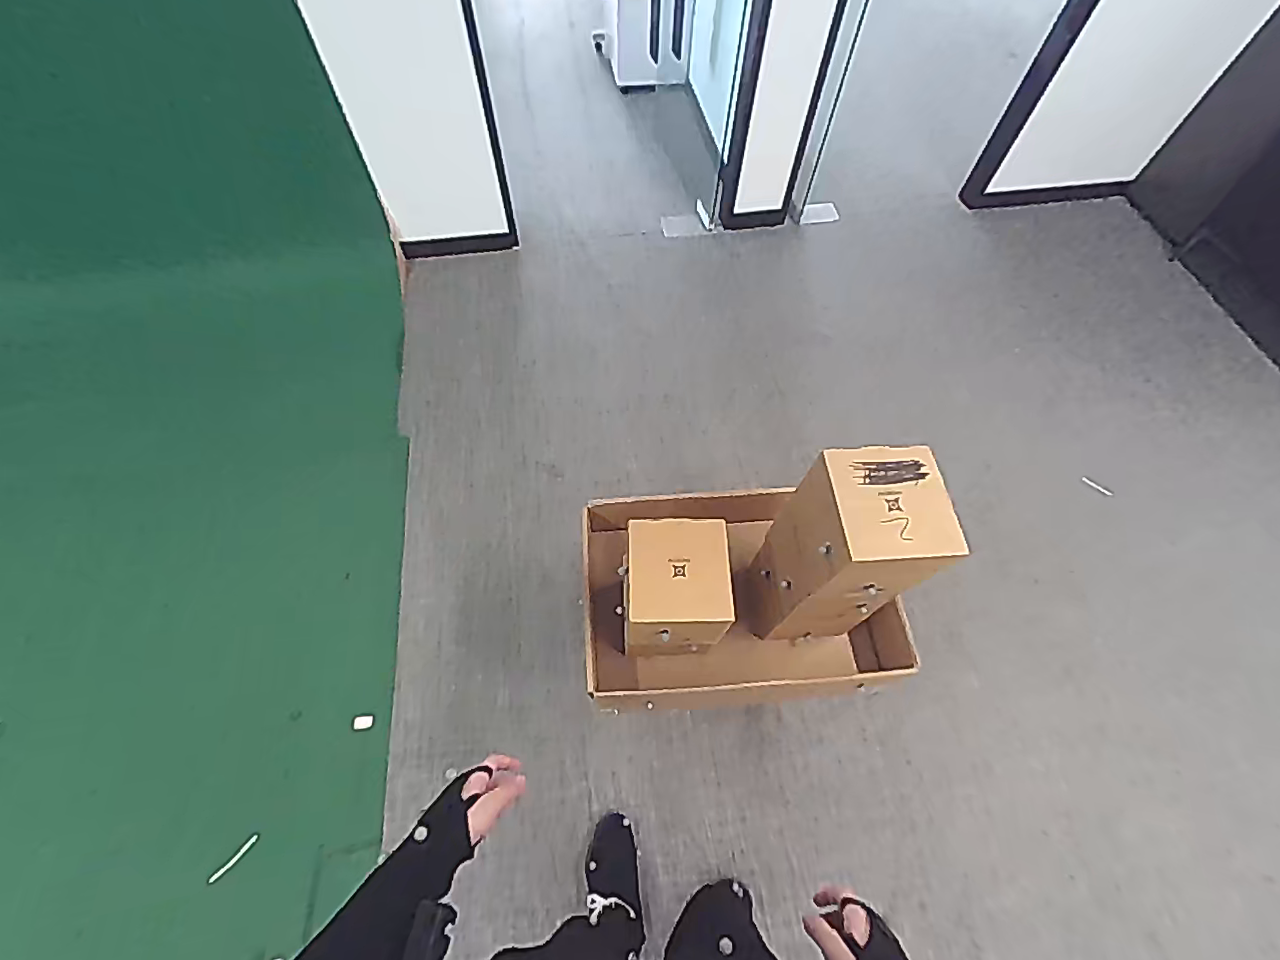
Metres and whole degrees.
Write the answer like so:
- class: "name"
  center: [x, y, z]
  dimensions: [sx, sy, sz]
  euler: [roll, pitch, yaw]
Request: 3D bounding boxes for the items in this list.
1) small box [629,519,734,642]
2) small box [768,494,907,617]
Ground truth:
- class: "small box"
  center: [0.064, 0.180, 0.941]
  dimensions: [0.168, 0.176, 0.179]
  euler: [0, 61, -1]
- class: "small box"
  center: [0.339, 0.142, 0.967]
  dimensions: [0.168, 0.176, 0.179]
  euler: [-2, 61, -4]
